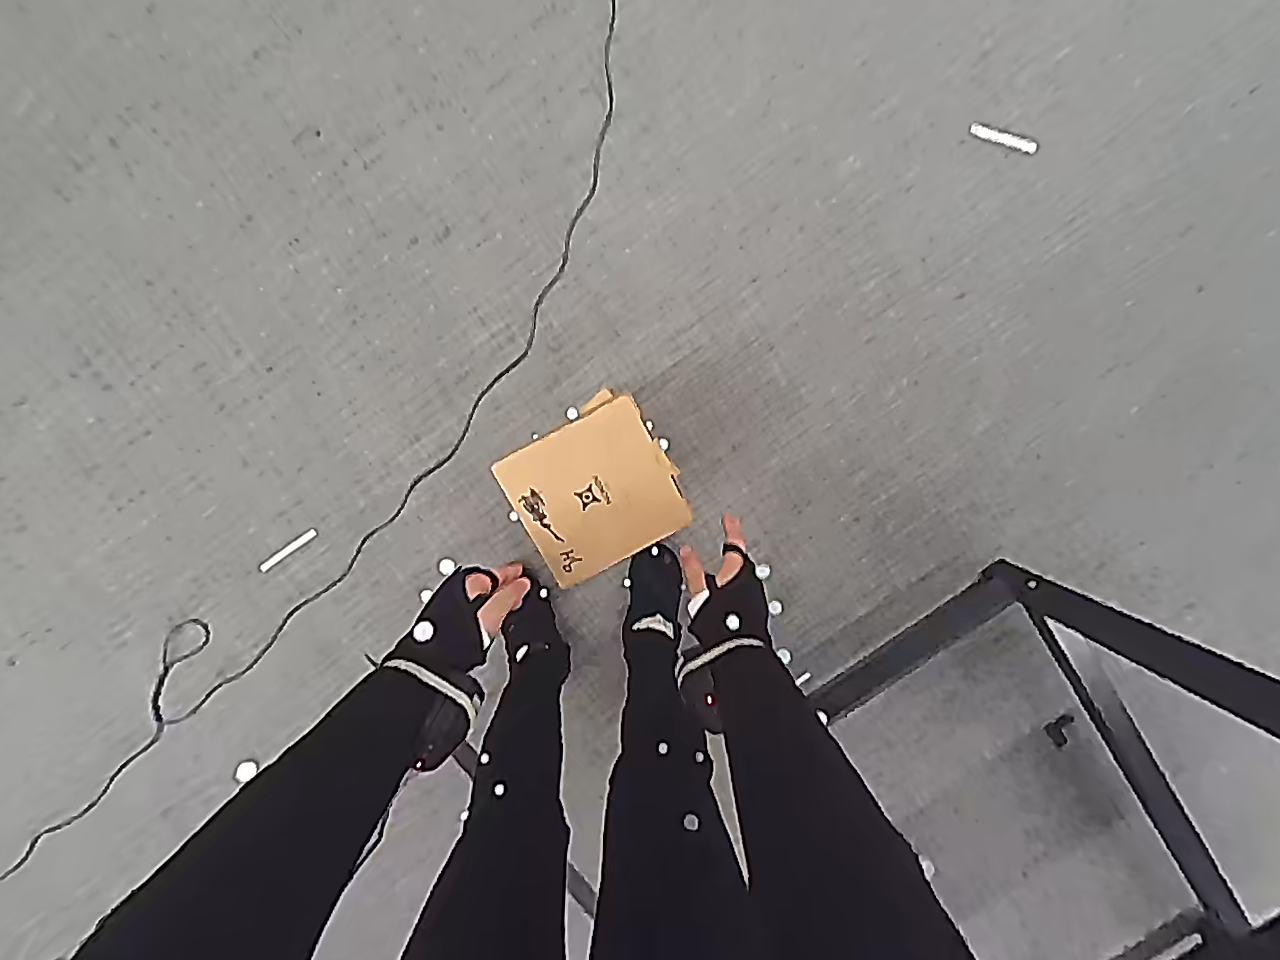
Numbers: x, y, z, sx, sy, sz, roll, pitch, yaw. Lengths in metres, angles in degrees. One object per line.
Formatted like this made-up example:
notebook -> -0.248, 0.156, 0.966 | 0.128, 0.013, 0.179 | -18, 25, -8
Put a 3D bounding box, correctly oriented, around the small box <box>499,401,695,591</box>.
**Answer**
small box -> -0.054, 0.008, 0.692 | 0.179, 0.176, 0.168 | -28, 100, 0
